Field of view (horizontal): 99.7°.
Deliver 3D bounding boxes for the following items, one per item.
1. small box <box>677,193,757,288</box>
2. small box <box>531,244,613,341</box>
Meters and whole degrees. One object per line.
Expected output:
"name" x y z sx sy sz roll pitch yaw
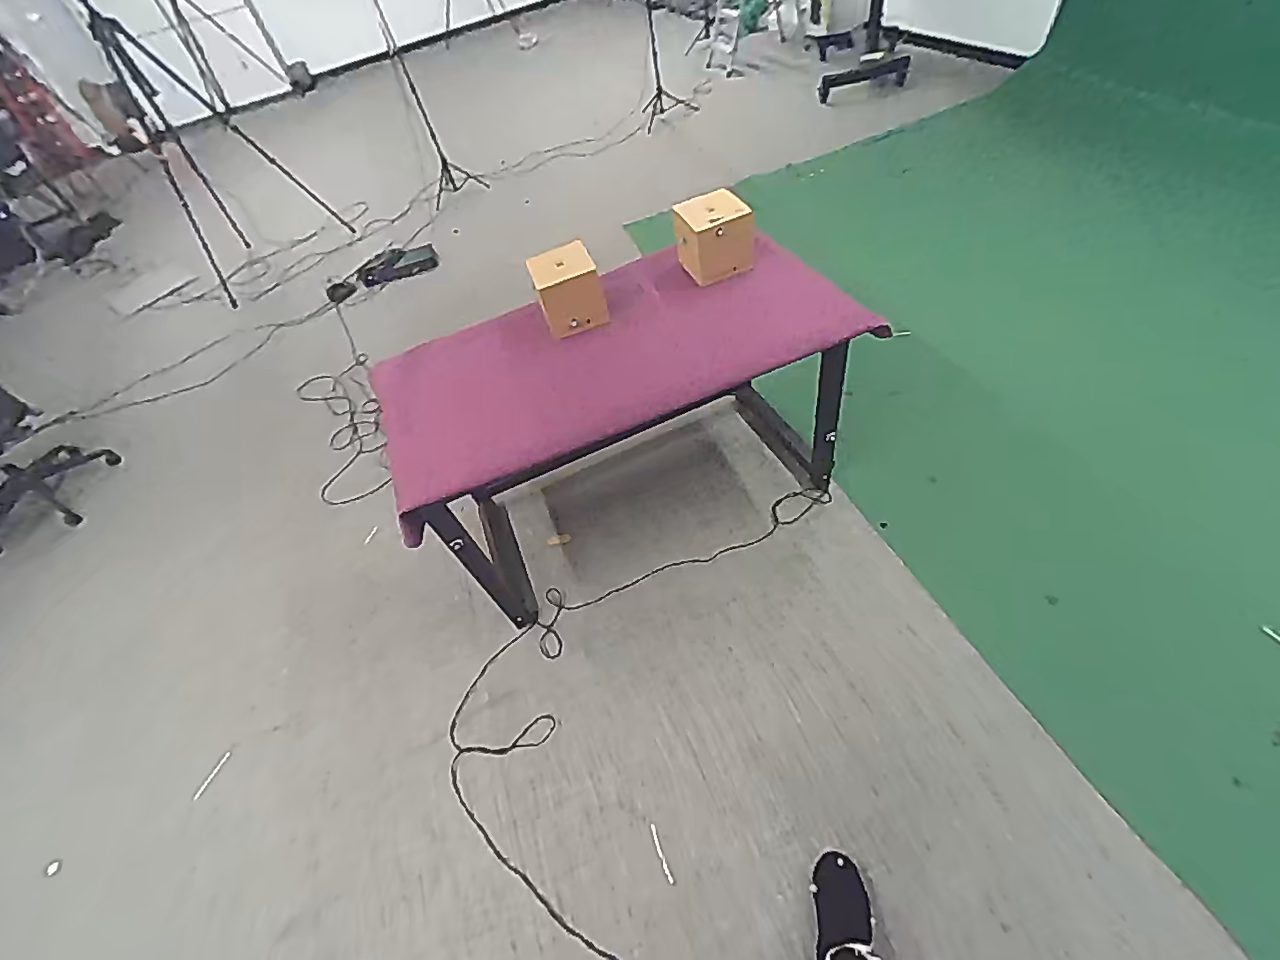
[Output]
"small box" 0.219 -0.676 1.530 0.168 0.176 0.179 -23 50 -4
"small box" -0.187 -0.518 1.499 0.168 0.176 0.179 -21 51 -3
